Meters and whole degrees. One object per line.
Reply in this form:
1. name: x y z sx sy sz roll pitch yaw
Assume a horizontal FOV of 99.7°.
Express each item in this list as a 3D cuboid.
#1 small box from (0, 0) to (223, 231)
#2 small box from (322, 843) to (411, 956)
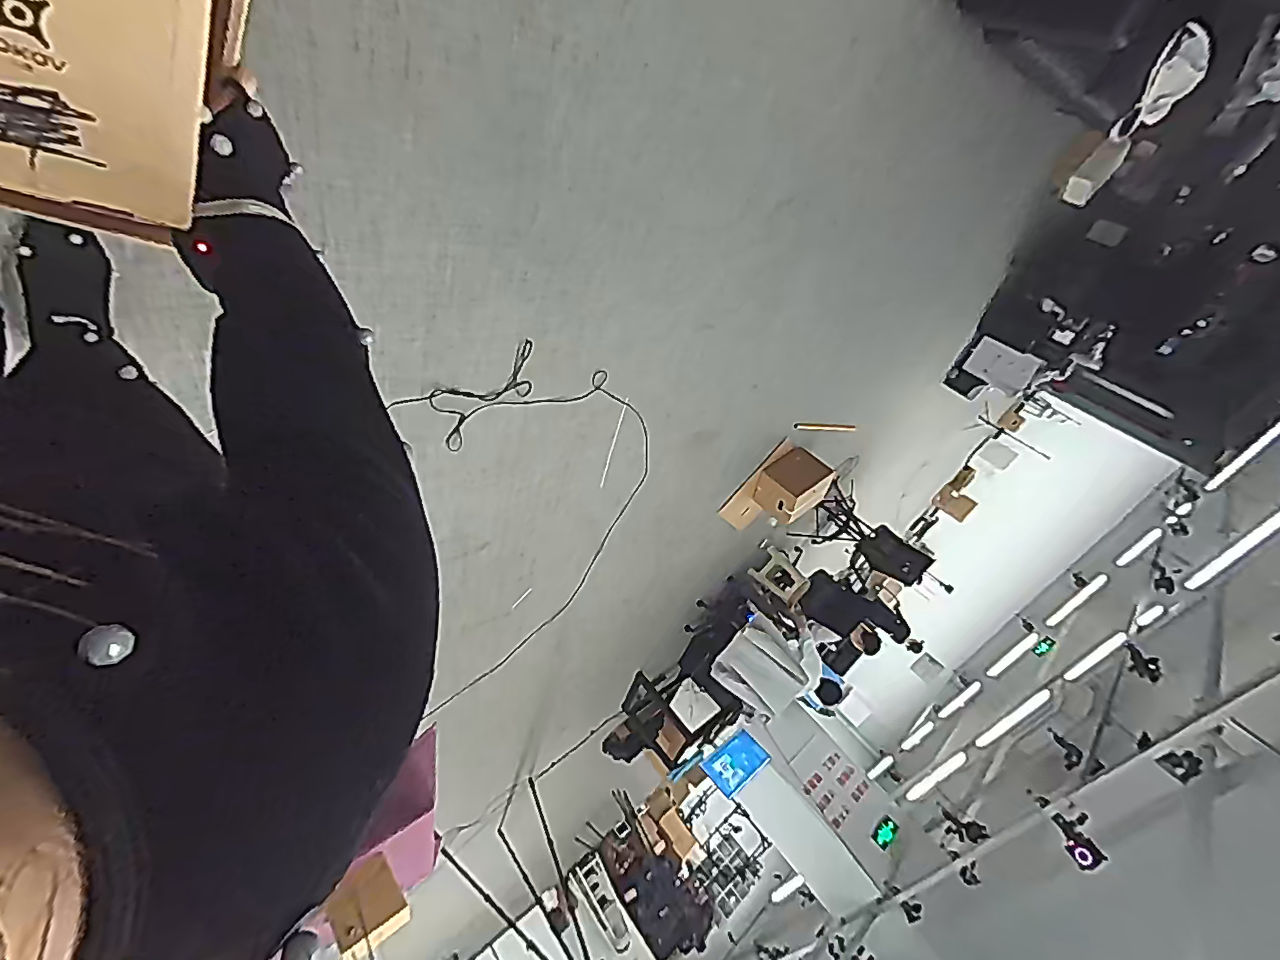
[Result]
1. small box: -0.393 -0.296 0.342 0.168 0.176 0.179 -5 129 -51
2. small box: -0.769 1.176 1.526 0.179 0.176 0.168 -19 142 -38
